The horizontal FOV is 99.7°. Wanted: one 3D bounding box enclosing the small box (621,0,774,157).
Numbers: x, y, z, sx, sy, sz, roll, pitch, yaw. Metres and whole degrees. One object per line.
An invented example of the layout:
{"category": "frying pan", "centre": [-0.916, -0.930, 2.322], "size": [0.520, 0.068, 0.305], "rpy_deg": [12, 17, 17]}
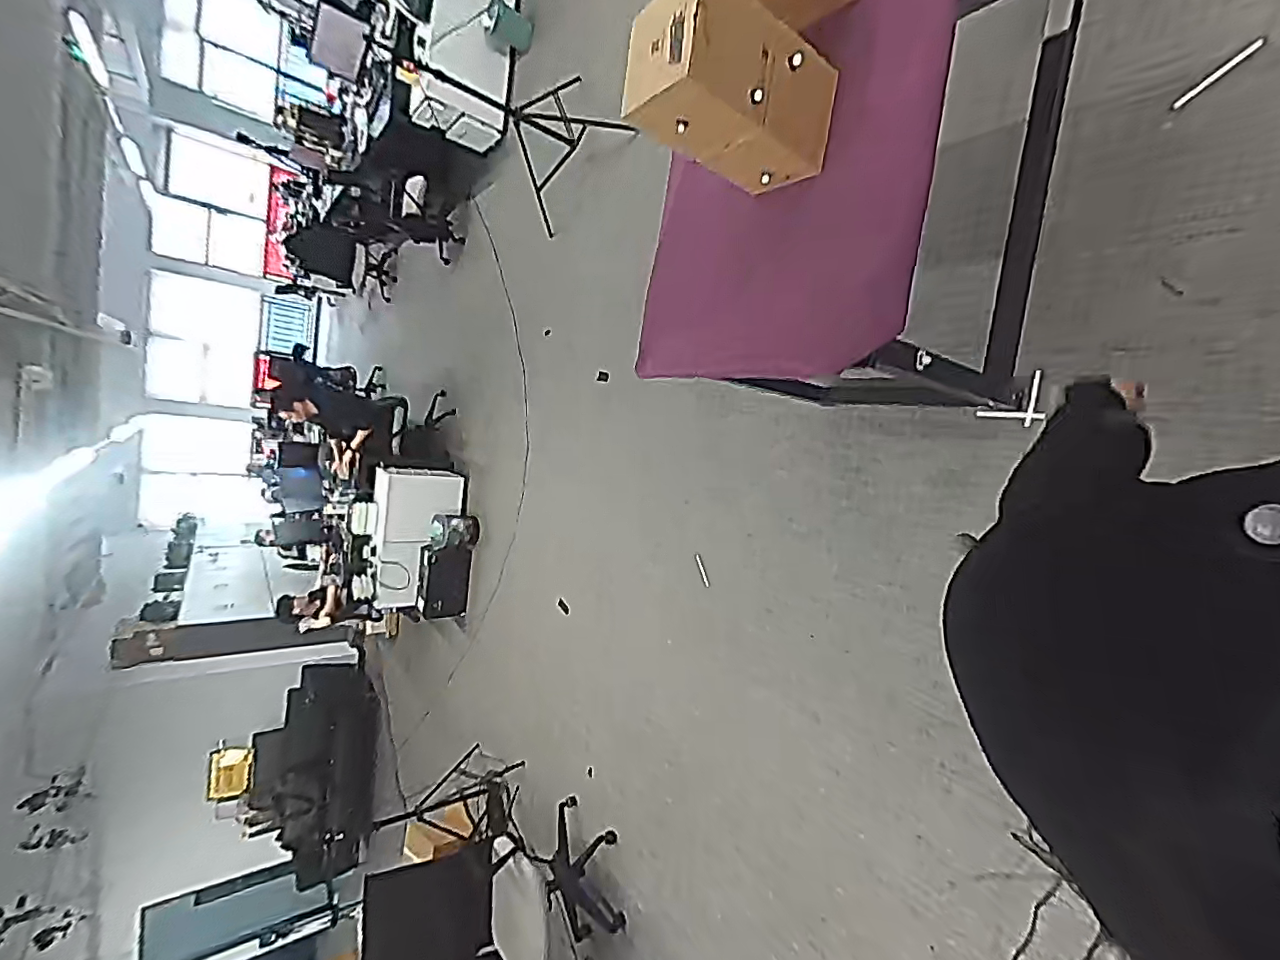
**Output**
{"category": "small box", "centre": [0.094, -0.668, 0.885], "size": [0.179, 0.176, 0.168], "rpy_deg": [14, 98, 53]}

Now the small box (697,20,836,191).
{"category": "small box", "centre": [0.229, -0.659, 0.978], "size": [0.168, 0.176, 0.179], "rpy_deg": [17, 101, 52]}
